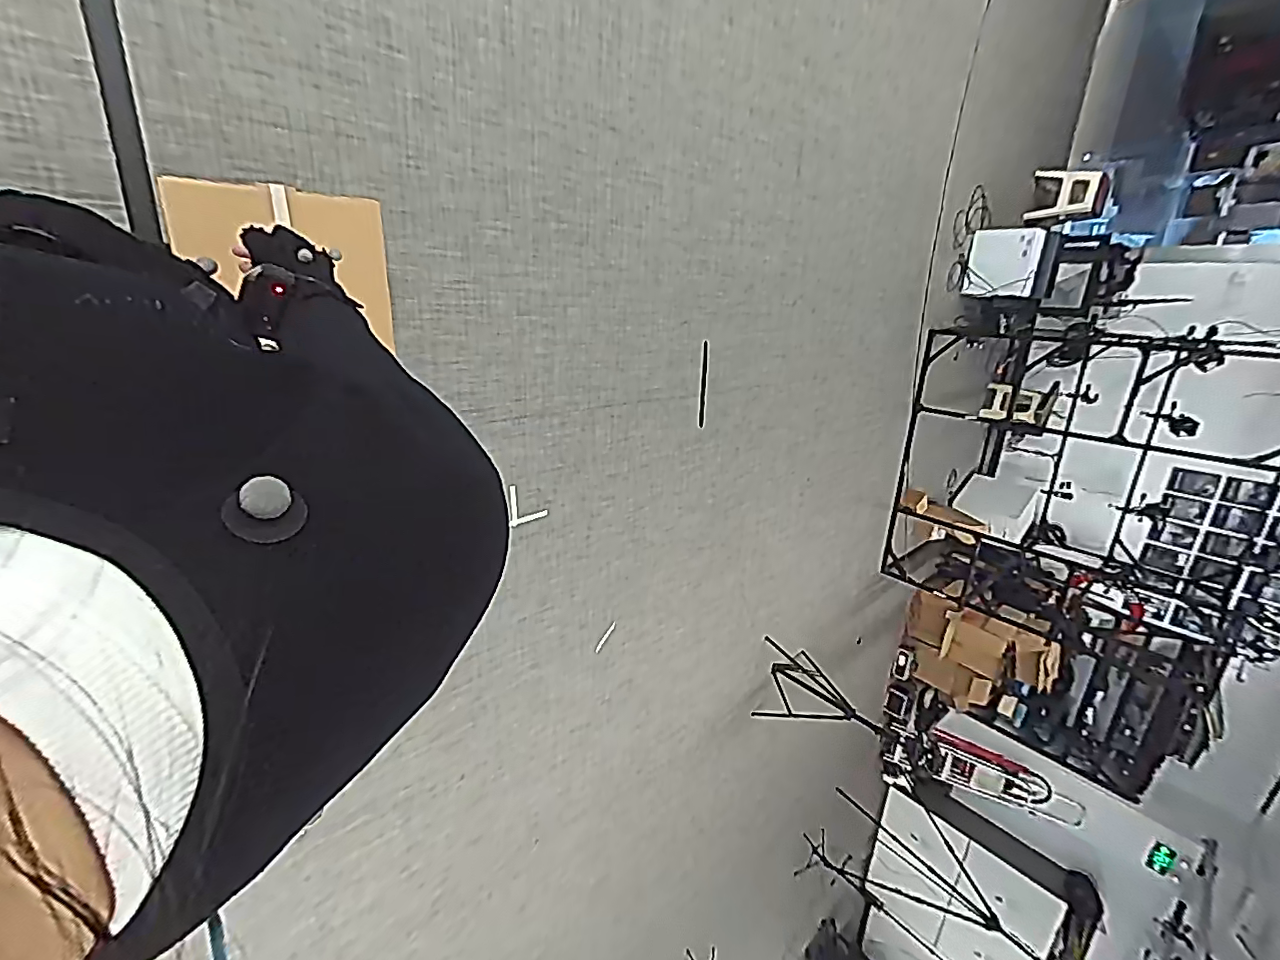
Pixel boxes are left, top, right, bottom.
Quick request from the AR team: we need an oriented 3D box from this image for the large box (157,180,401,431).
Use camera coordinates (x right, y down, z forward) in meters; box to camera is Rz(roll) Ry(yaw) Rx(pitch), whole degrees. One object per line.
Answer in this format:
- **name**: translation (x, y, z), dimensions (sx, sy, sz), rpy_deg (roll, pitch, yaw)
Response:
- **large box**: translation (-0.700, -0.343, 1.078), dimensions (0.320, 0.320, 0.408), rpy_deg (-11, 115, -33)
